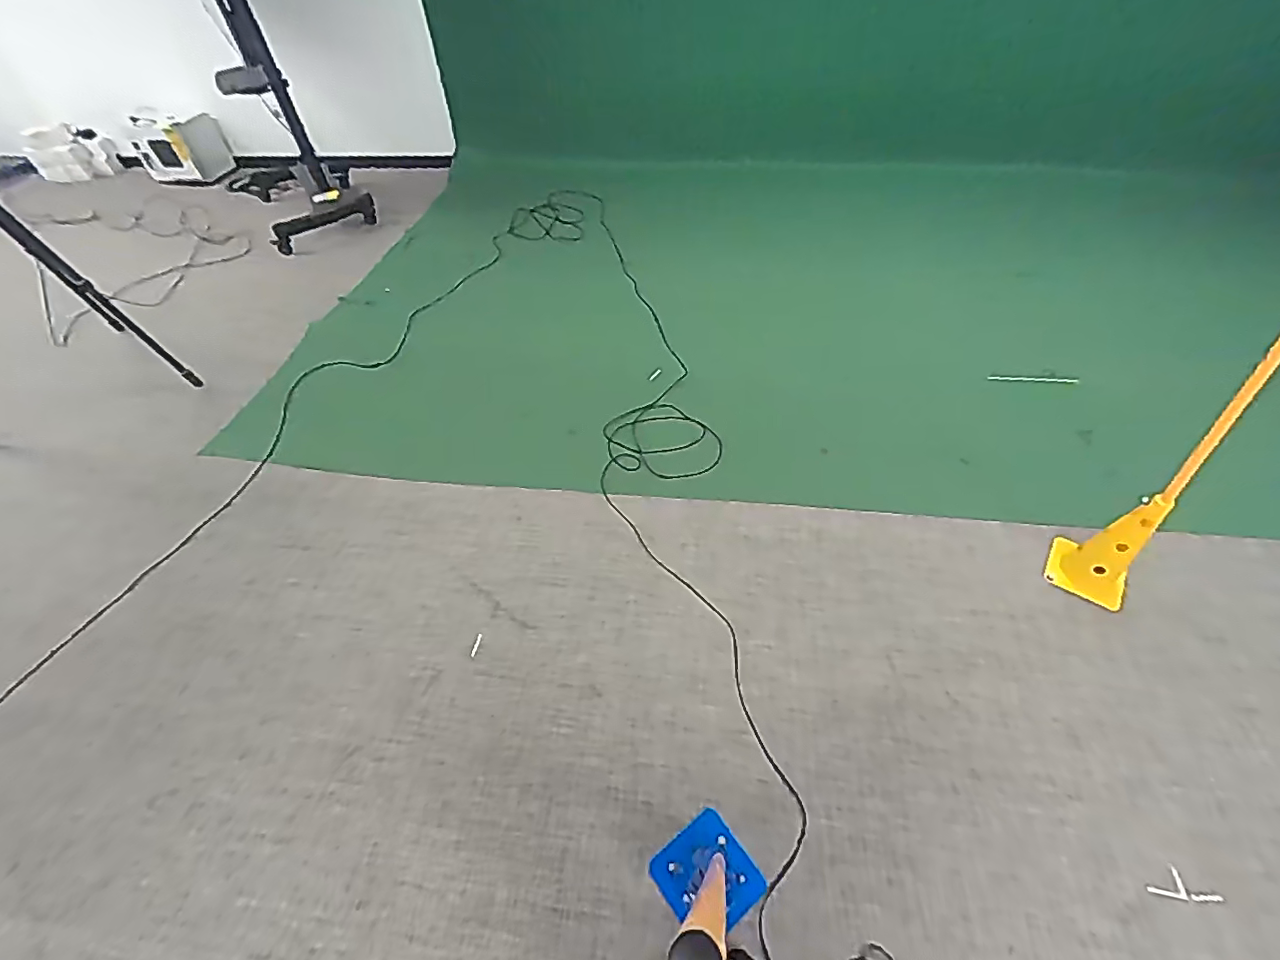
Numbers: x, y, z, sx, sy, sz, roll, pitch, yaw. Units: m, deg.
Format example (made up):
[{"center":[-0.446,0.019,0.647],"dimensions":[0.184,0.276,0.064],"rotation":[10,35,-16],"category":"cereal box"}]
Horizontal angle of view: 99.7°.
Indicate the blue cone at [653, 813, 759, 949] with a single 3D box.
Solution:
[{"center":[0.137,0.770,1.057],"dimensions":[0.193,0.380,0.192],"rotation":[-33,56,-21],"category":"blue cone"}]
